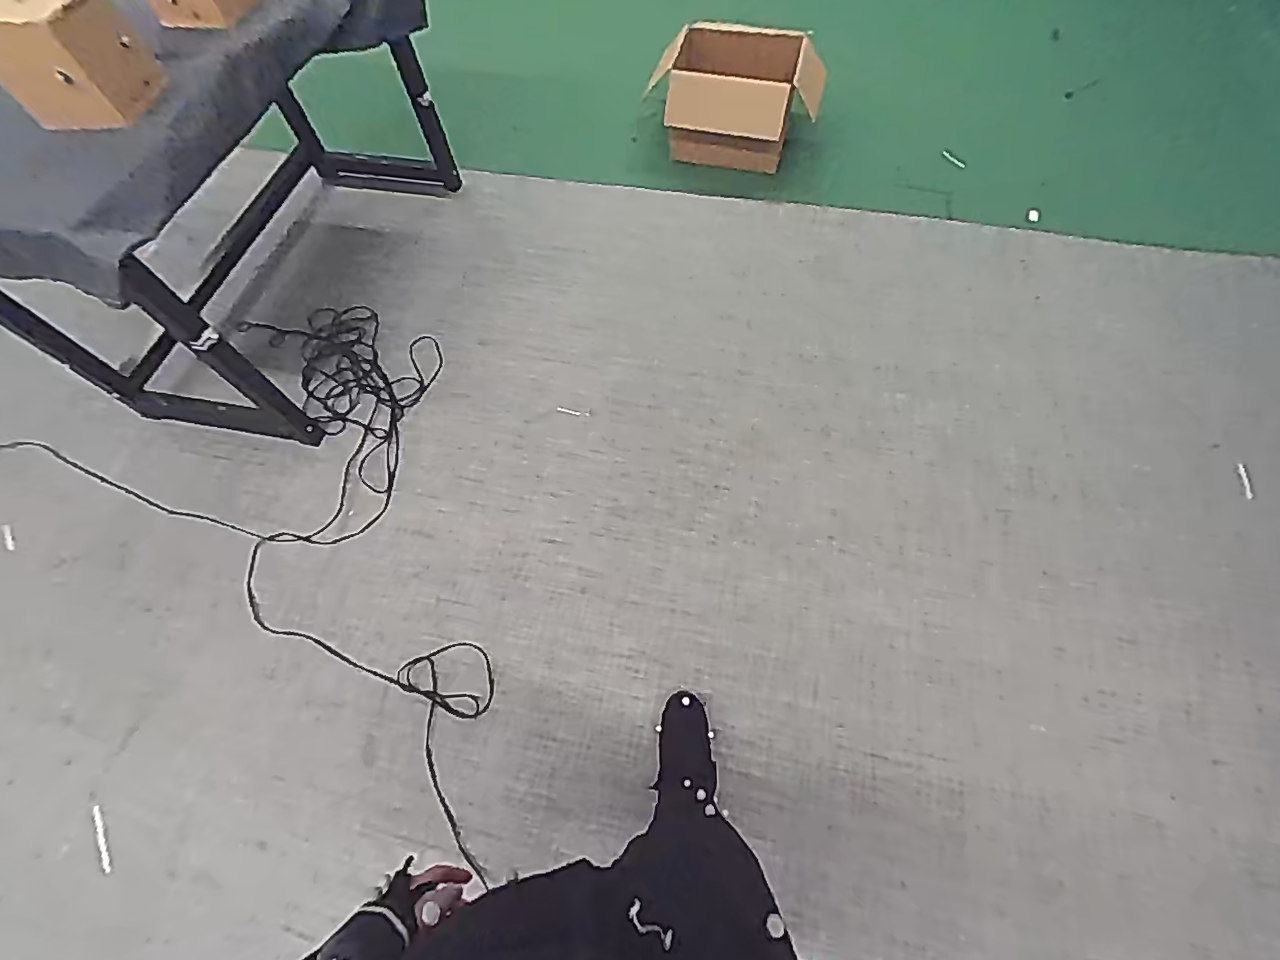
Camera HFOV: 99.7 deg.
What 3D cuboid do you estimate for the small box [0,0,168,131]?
[{"bbox_3d":[-1.022,-0.761,0.974,0.179,0.176,0.168,0,62,4],"label":"small box"}]

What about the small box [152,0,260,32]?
[{"bbox_3d":[-0.945,-1.089,1.137,0.168,0.176,0.179,7,65,6],"label":"small box"}]
